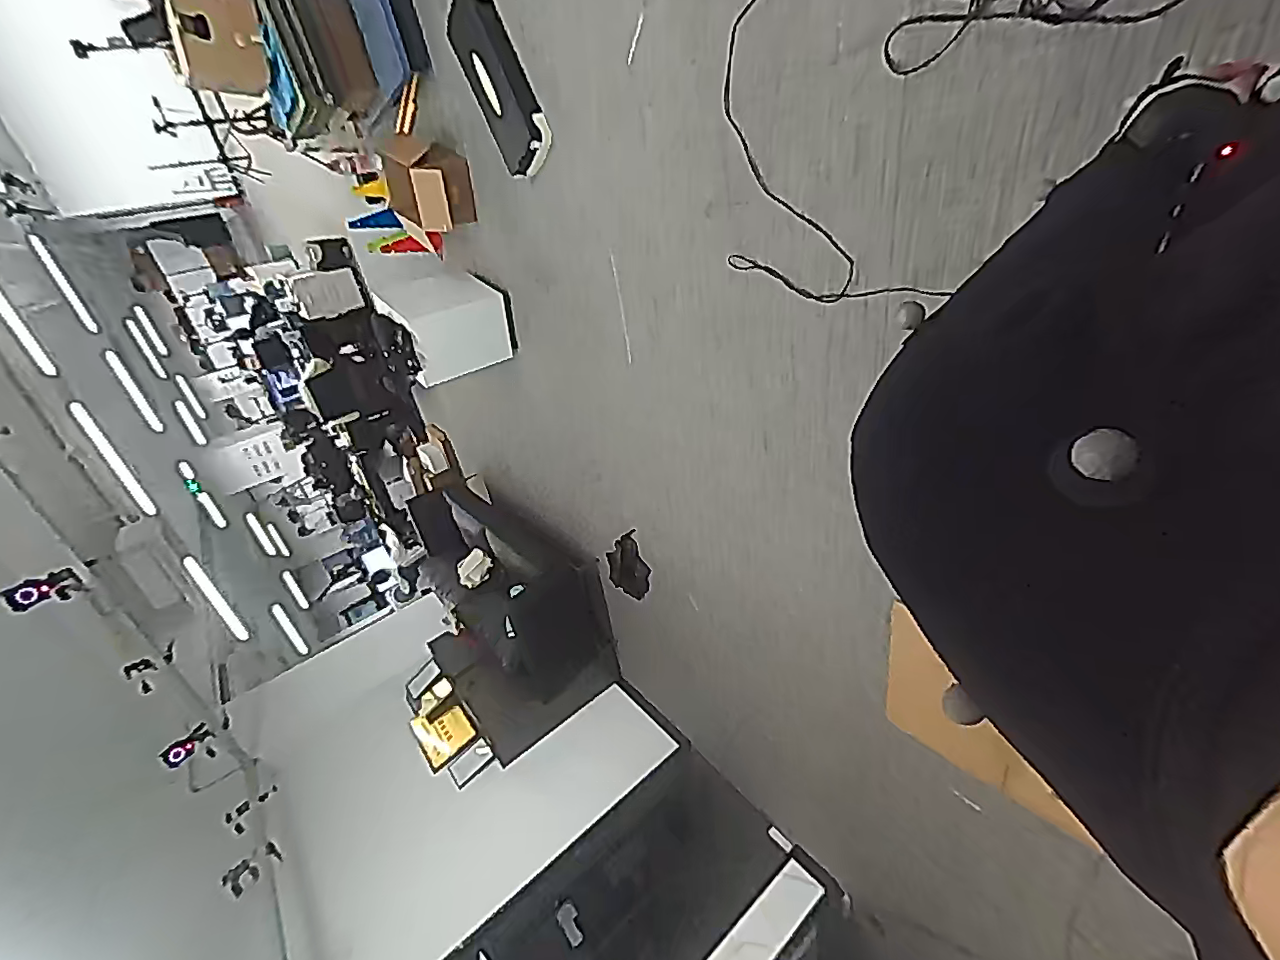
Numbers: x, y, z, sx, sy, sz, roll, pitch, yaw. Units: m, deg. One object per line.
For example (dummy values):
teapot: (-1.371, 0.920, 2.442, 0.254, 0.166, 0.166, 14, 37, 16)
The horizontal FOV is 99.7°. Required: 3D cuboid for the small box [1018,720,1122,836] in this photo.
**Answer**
small box: (1.159, 0.798, 1.460, 0.168, 0.176, 0.179, 24, 133, 47)
